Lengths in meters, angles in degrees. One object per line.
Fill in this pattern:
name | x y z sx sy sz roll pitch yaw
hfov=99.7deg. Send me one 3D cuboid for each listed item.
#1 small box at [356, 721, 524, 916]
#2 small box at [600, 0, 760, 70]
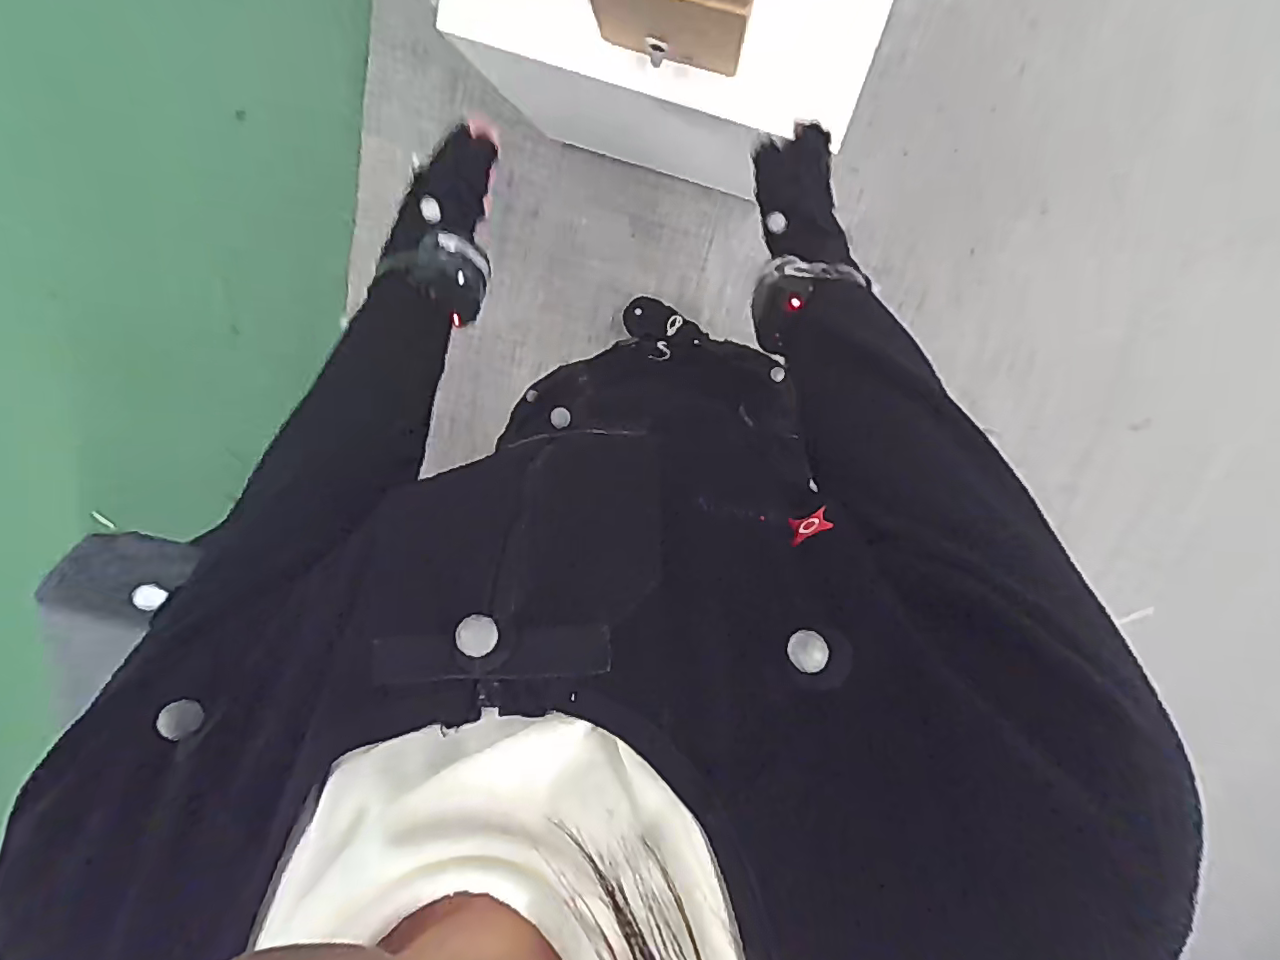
small box | -0.291 0.500 0.816 0.179 0.176 0.168 19 113 -1
small box | 0.050 -0.547 0.528 0.168 0.176 0.179 15 113 2
